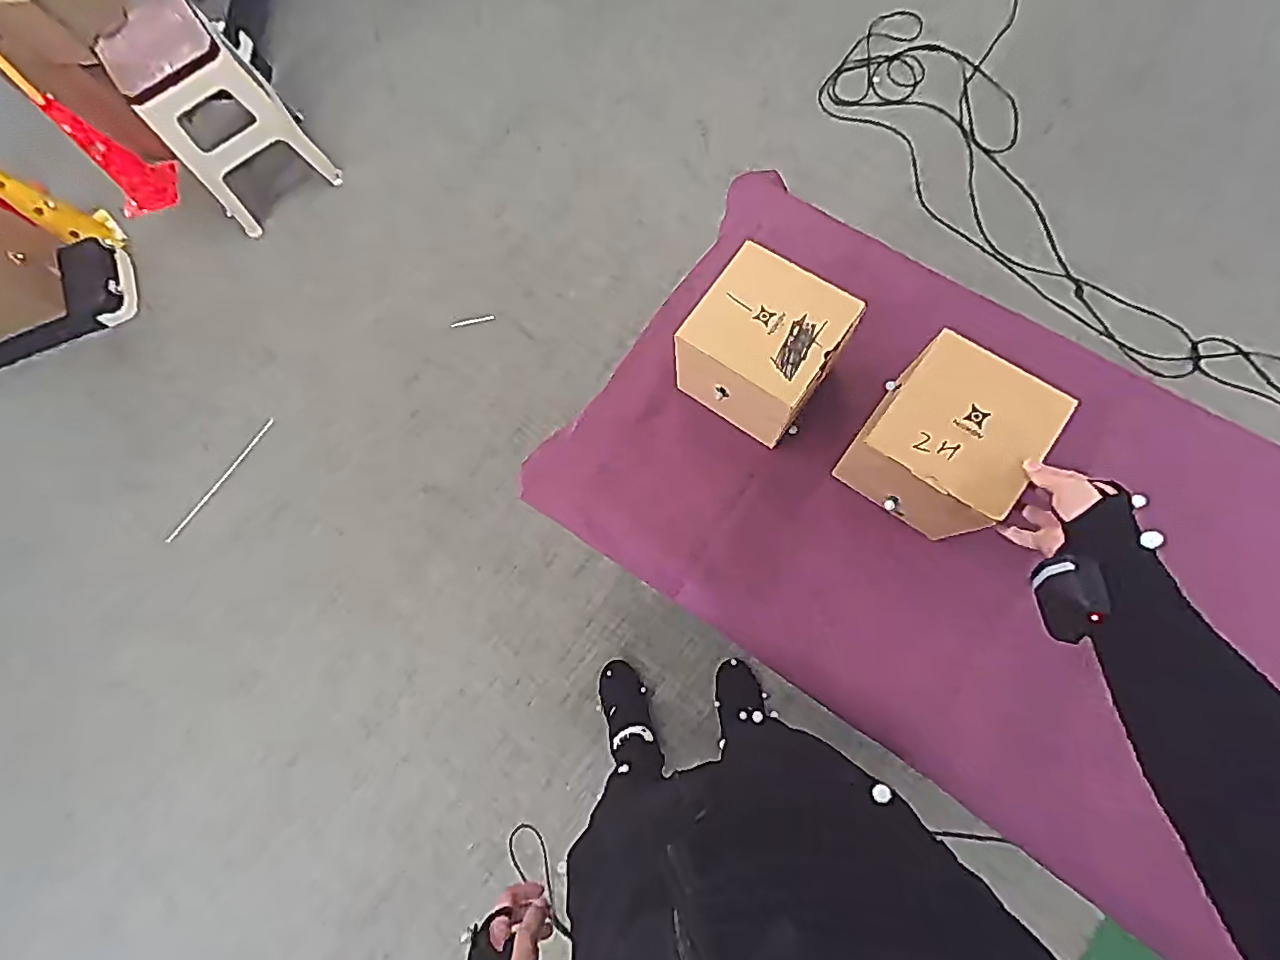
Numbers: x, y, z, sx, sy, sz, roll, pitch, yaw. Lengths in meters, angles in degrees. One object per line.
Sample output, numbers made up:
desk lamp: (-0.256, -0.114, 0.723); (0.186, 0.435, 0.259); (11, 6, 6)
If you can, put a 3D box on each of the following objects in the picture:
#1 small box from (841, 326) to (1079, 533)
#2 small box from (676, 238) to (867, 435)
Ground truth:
small box: (0.383, -0.052, 0.687); (0.168, 0.176, 0.179); (36, 84, 12)
small box: (0.168, -0.180, 0.739); (0.179, 0.176, 0.168); (35, 82, 13)
